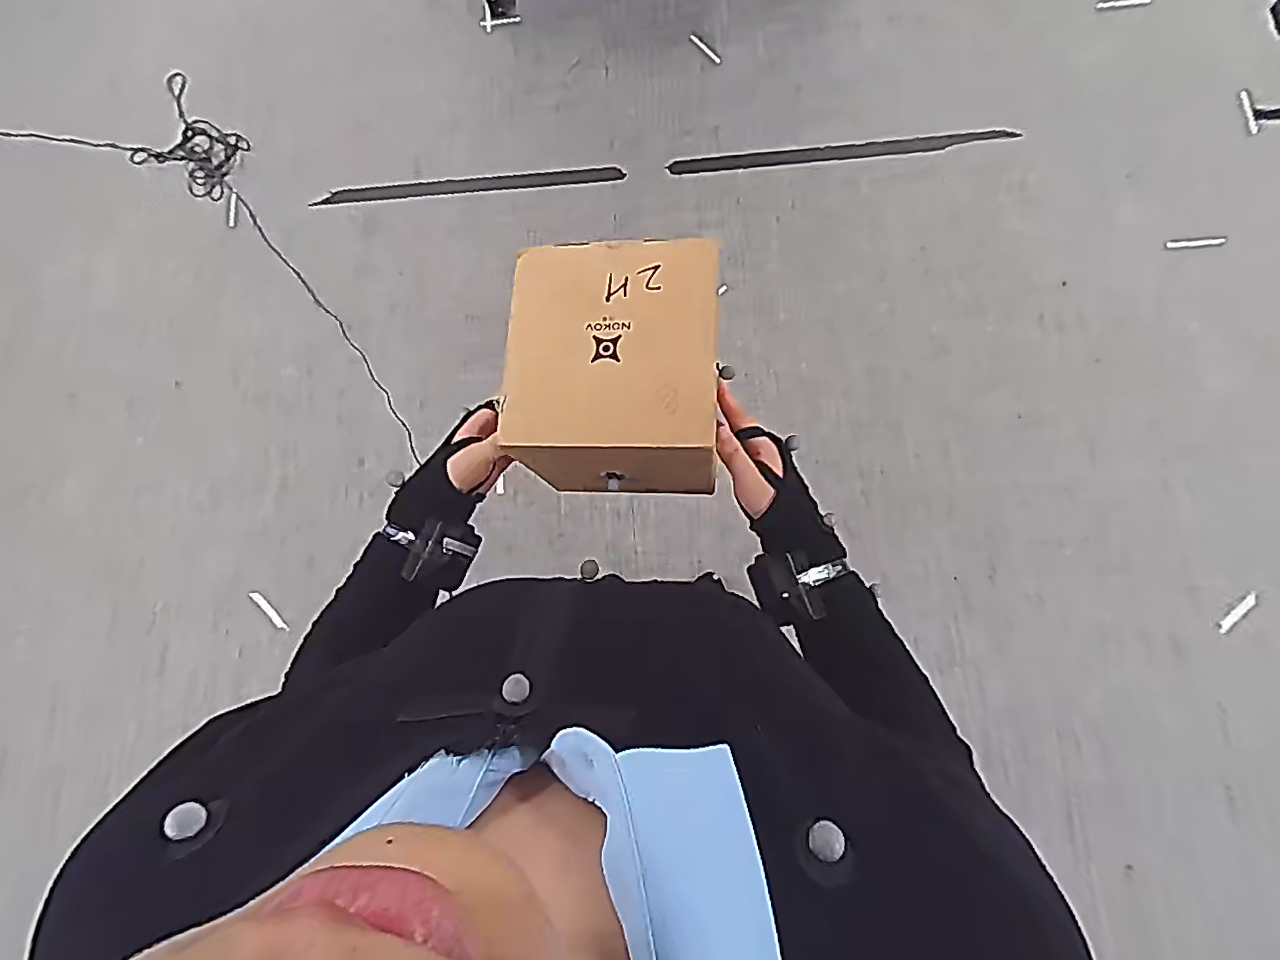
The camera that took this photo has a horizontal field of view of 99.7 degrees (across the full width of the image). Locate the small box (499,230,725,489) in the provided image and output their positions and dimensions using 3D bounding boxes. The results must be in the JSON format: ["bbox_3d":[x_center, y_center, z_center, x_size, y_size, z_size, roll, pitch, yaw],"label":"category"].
[{"bbox_3d":[-0.010,-0.092,0.486,0.168,0.176,0.179,2,76,8],"label":"small box"}]
